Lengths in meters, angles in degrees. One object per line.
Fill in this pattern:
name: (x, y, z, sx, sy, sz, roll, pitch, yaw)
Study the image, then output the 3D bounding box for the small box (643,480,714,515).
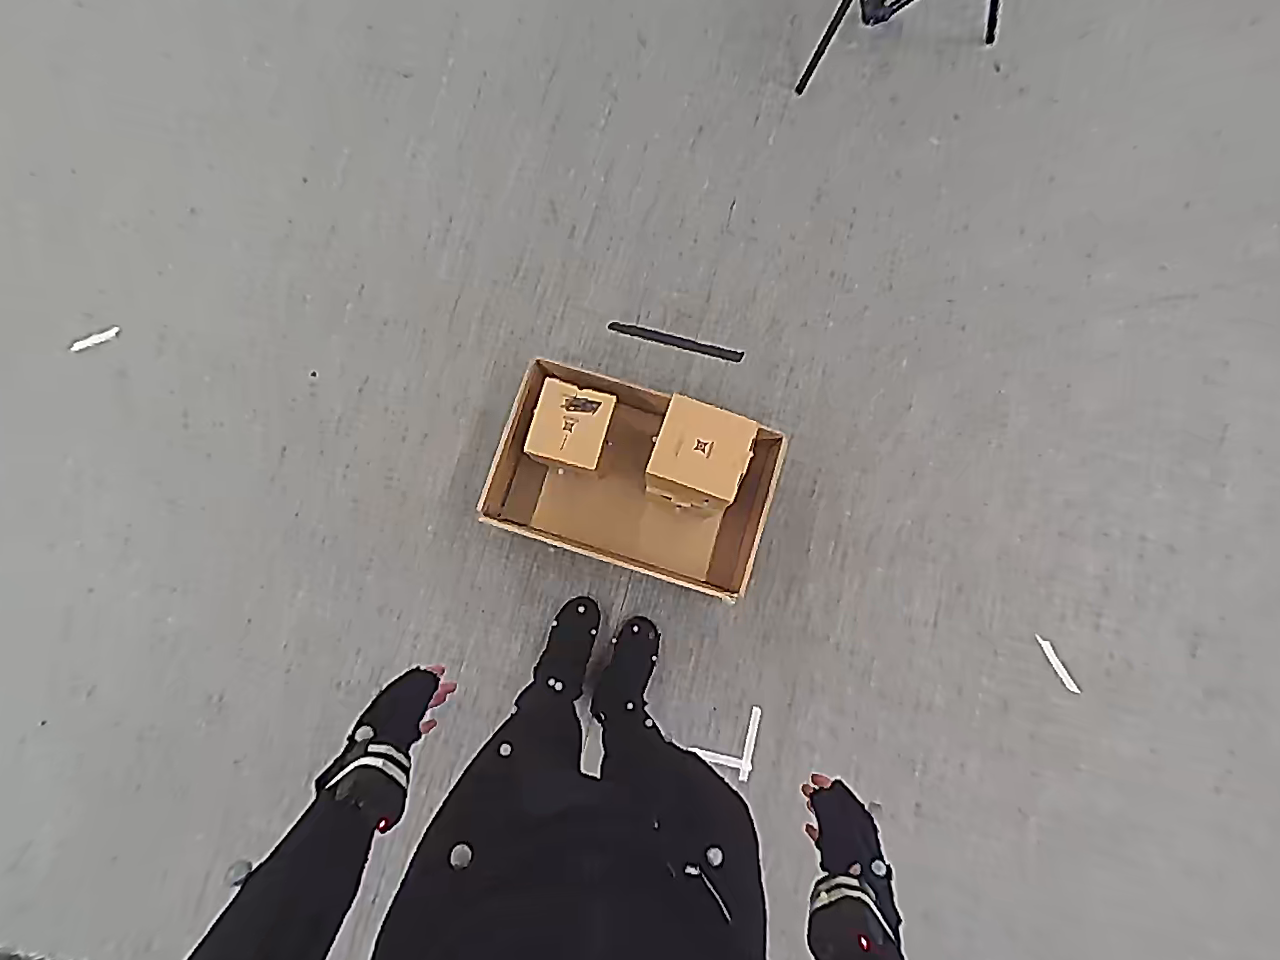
small box: (0.115, -0.024, 1.262, 0.168, 0.176, 0.179, 18, 84, 5)

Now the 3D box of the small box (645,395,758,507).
small box: (0.118, -0.049, 1.099, 0.179, 0.176, 0.168, 19, 81, 4)
